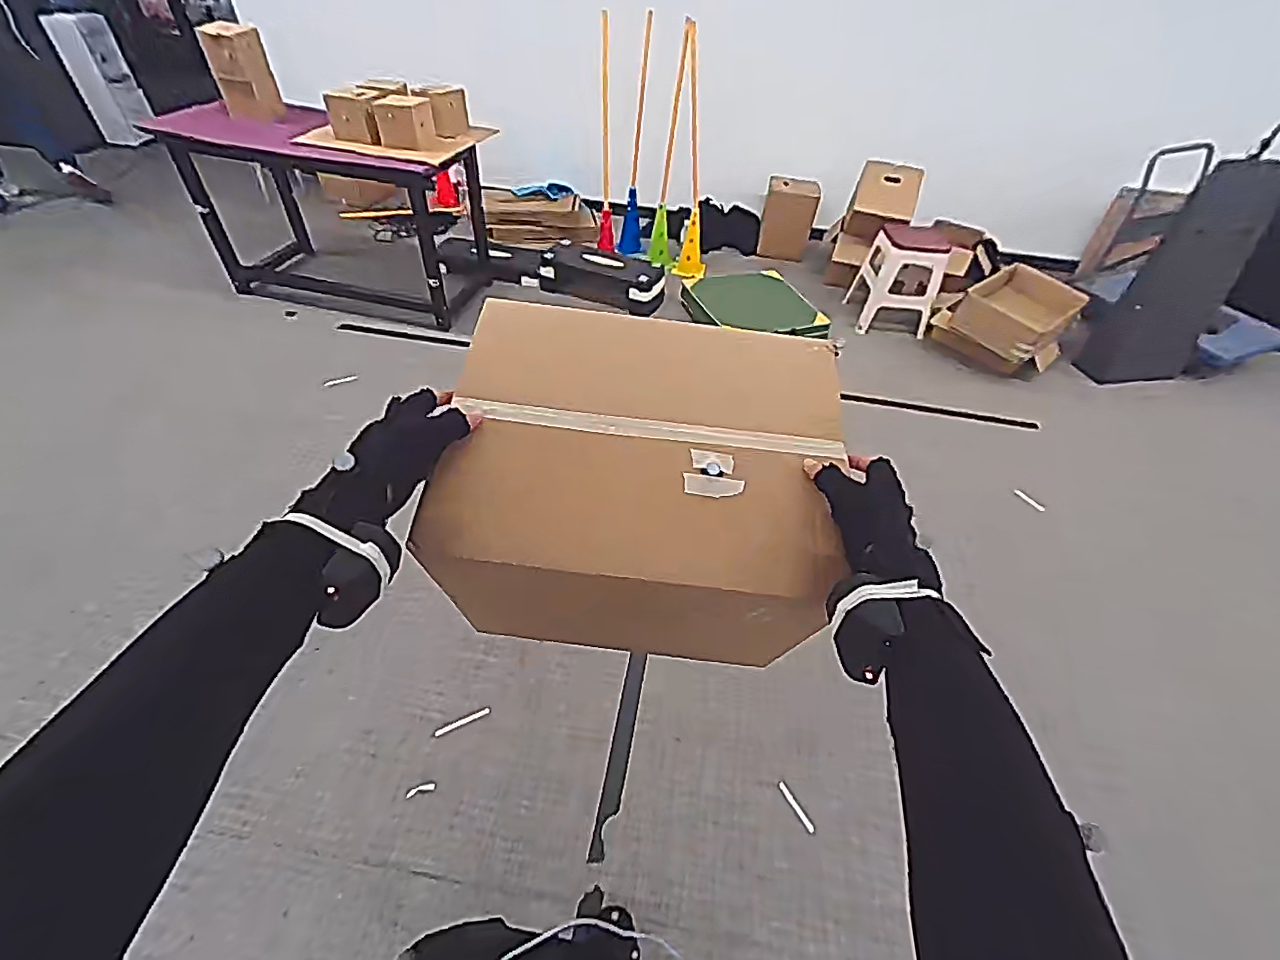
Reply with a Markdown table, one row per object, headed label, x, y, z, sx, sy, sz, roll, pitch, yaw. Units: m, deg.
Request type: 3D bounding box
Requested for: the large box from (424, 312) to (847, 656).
| label | x | y | z | sx | sy | sz | roll | pitch | yaw |
| --- | --- | --- | --- | --- | --- | --- | --- | --- | --- |
| large box | -0.003 | 0.025 | 0.698 | 0.408 | 0.320 | 0.320 | 7 | 62 | -1 |
